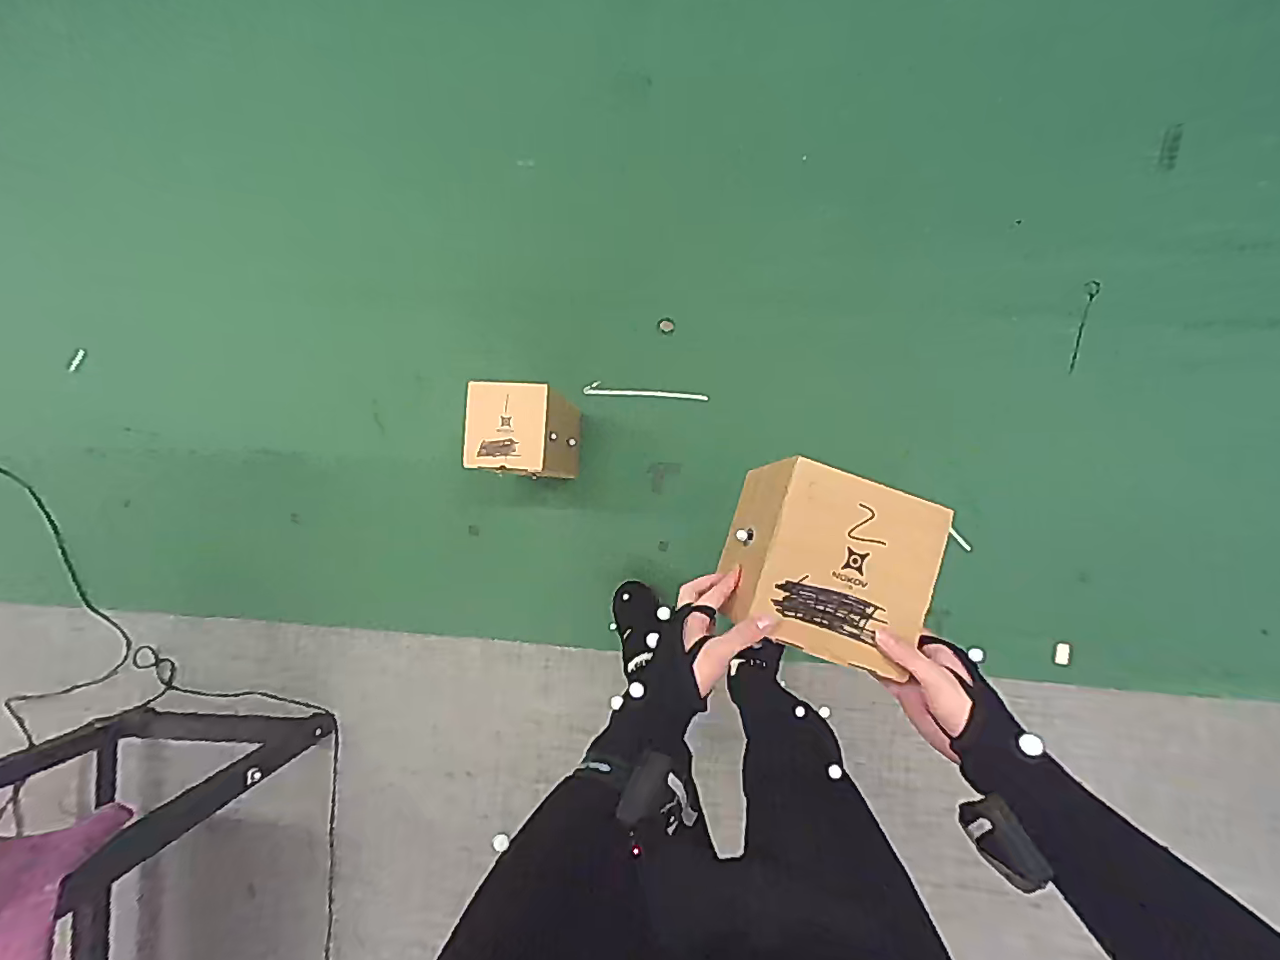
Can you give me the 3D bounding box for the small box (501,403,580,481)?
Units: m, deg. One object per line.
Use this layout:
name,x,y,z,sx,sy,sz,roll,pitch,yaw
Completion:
small box,-0.243,-0.091,1.315,0.168,0.176,0.179,3,89,5

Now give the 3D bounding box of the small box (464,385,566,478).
small box,-0.257,-0.097,1.151,0.168,0.176,0.179,3,88,5
